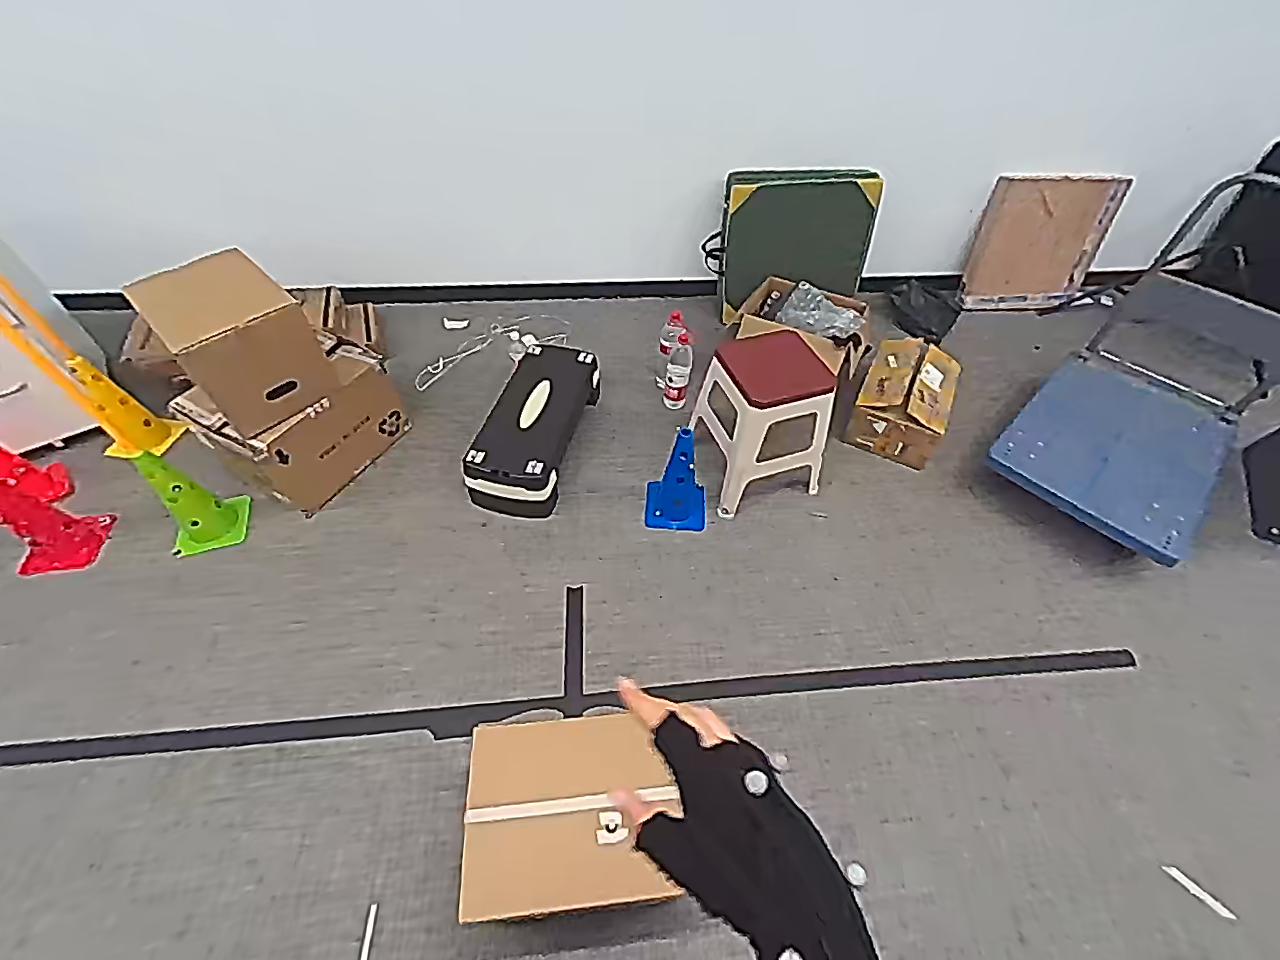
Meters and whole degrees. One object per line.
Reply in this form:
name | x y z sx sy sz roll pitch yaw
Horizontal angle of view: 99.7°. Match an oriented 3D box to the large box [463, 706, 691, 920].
large box | -0.131 0.703 1.141 0.408 0.320 0.320 -2 51 -6
